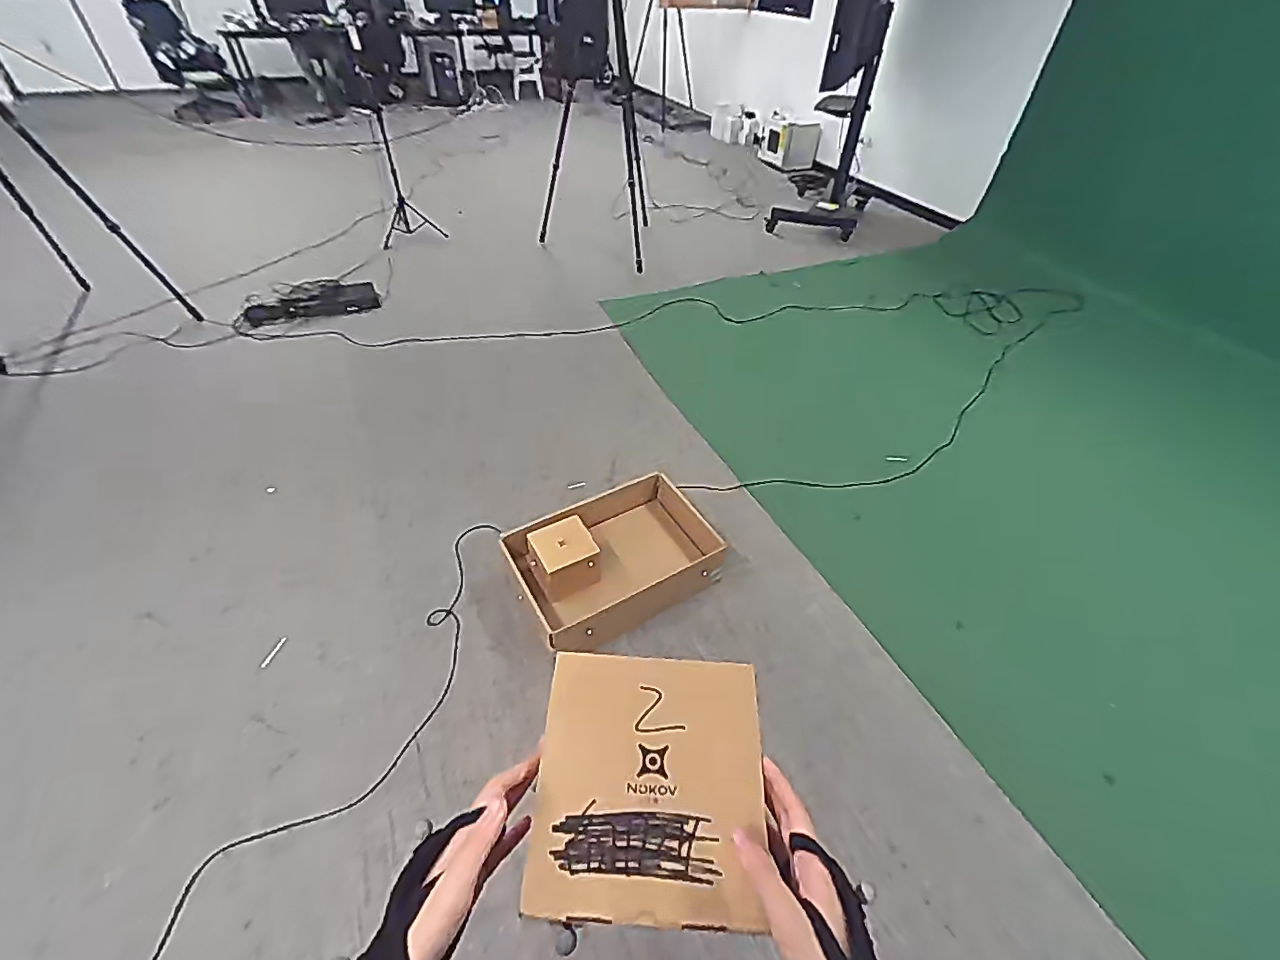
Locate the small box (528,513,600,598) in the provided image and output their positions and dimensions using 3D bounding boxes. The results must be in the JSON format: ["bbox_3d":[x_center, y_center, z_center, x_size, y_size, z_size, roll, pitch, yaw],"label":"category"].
[{"bbox_3d":[-0.236,0.240,1.703,0.179,0.176,0.168,-21,52,-23],"label":"small box"}]
